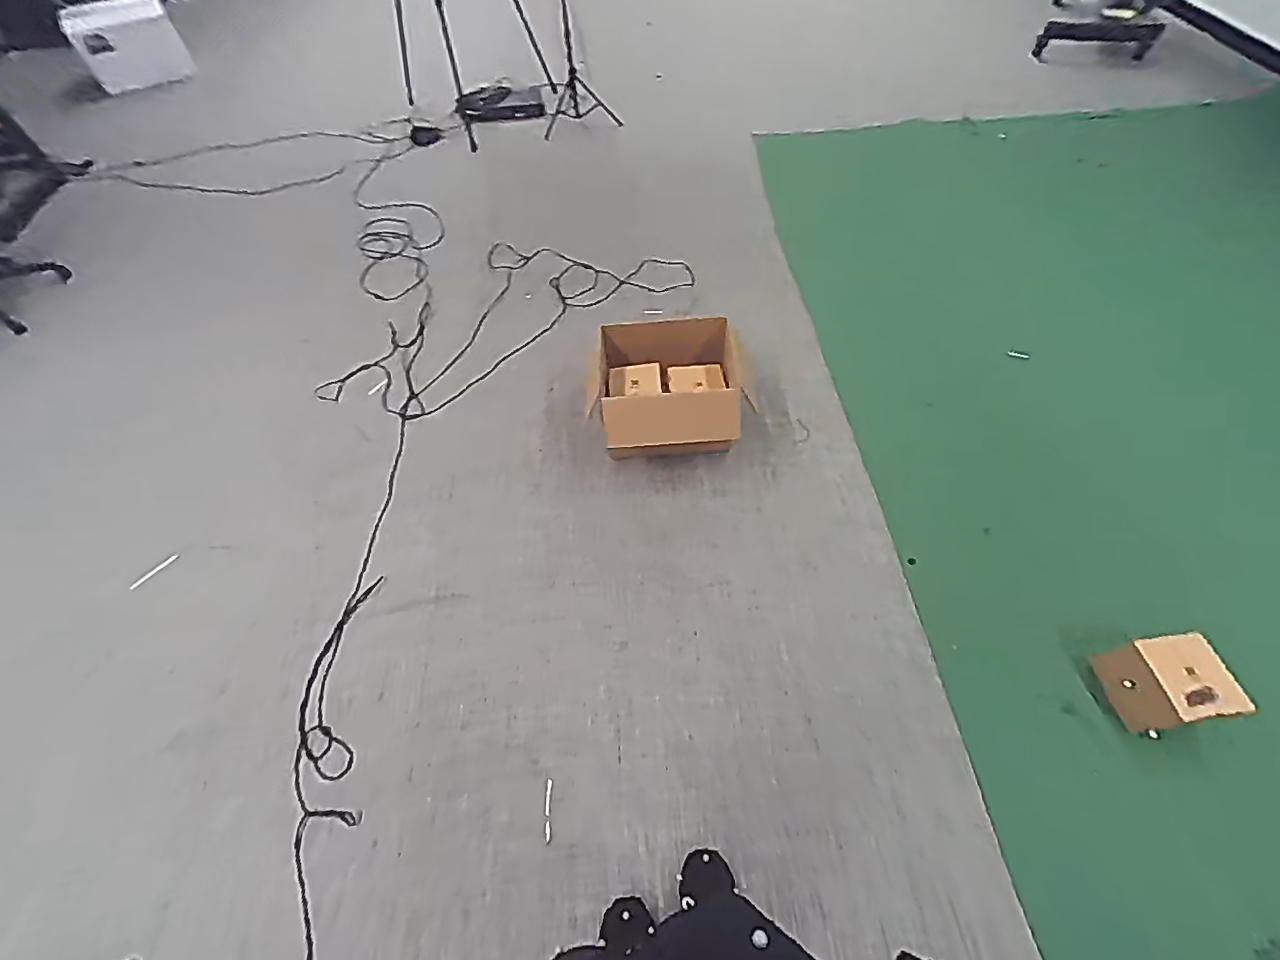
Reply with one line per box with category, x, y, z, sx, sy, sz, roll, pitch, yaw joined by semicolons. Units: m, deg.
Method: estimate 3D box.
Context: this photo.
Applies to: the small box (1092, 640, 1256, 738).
small box;1.224;0.491;1.258;0.168;0.176;0.179;-7;55;-2
